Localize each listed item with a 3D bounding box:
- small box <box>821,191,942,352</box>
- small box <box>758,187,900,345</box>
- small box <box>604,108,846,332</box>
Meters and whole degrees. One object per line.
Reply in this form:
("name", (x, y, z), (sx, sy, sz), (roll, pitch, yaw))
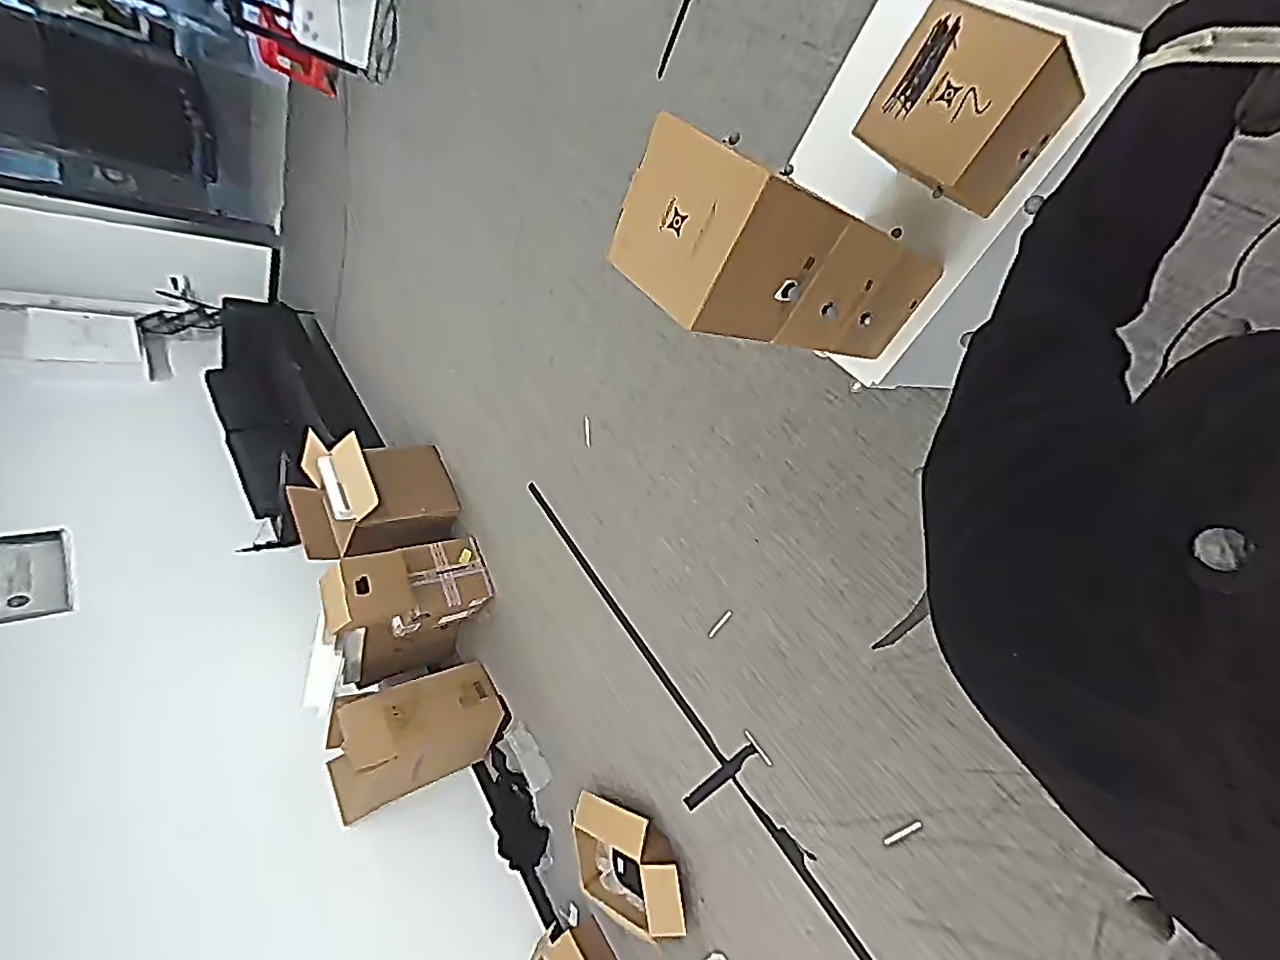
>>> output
("small box", (0.327, -0.316, 0.849), (0.179, 0.176, 0.168), (52, 128, 29))
("small box", (0.212, -0.298, 0.735), (0.179, 0.176, 0.168), (50, 128, 29))
("small box", (0.095, -0.284, 0.623), (0.179, 0.176, 0.168), (49, 128, 29))
